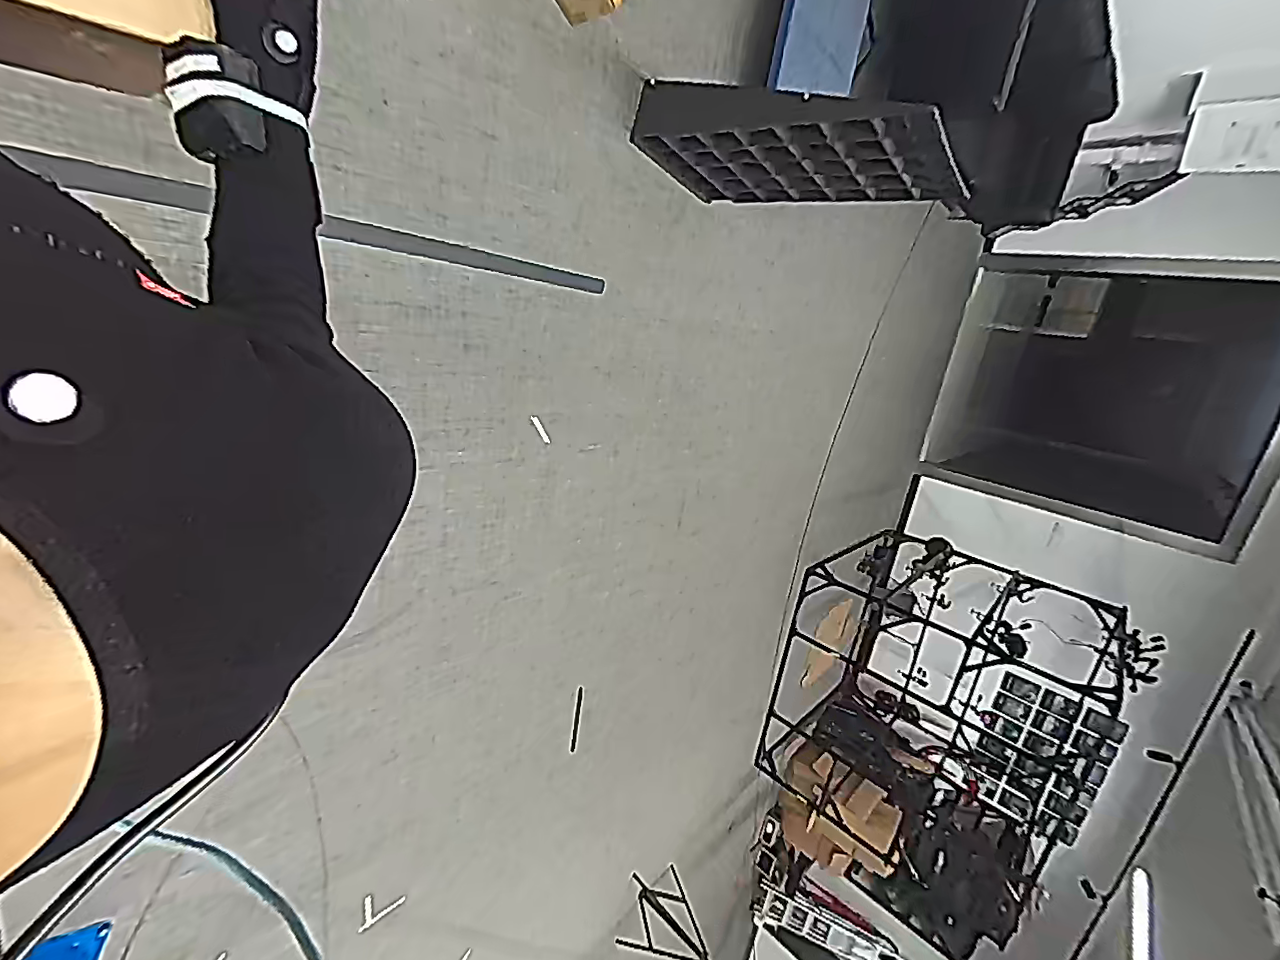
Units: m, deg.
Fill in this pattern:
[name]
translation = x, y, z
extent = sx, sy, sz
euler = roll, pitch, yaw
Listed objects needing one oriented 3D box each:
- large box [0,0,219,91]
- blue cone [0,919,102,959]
[large box]
translation = -0.540, -0.468, 0.296
extent = 0.408, 0.320, 0.320
euler = -16, 122, -47
[blue cone]
translation = -1.339, 1.233, 1.212
extent = 0.193, 0.380, 0.192
euler = 25, 88, -52
